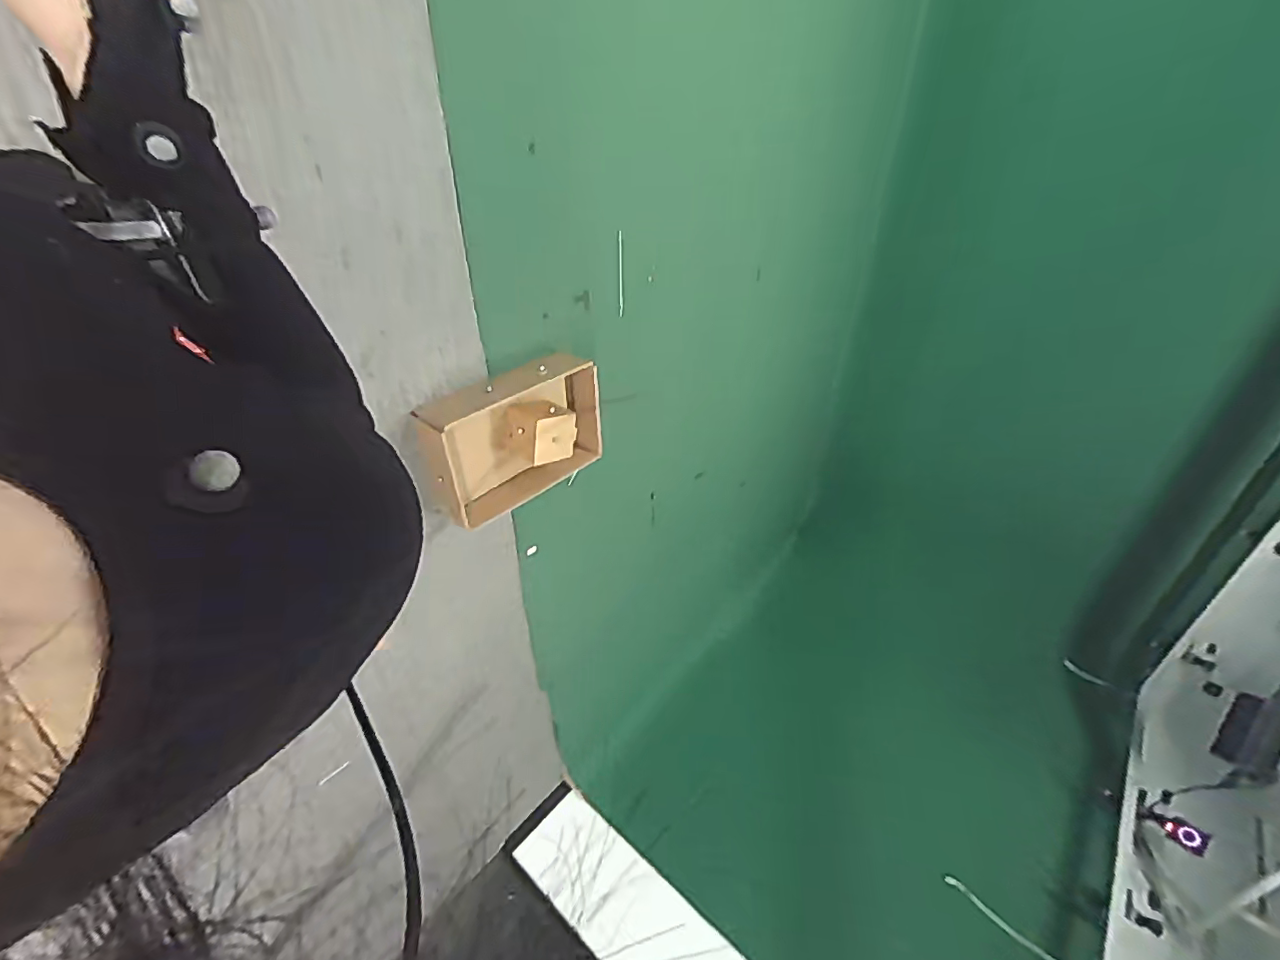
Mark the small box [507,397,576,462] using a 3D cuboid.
[{"bbox_3d":[-0.348,-0.183,1.895,0.179,0.176,0.168,-20,128,-45],"label":"small box"}]
